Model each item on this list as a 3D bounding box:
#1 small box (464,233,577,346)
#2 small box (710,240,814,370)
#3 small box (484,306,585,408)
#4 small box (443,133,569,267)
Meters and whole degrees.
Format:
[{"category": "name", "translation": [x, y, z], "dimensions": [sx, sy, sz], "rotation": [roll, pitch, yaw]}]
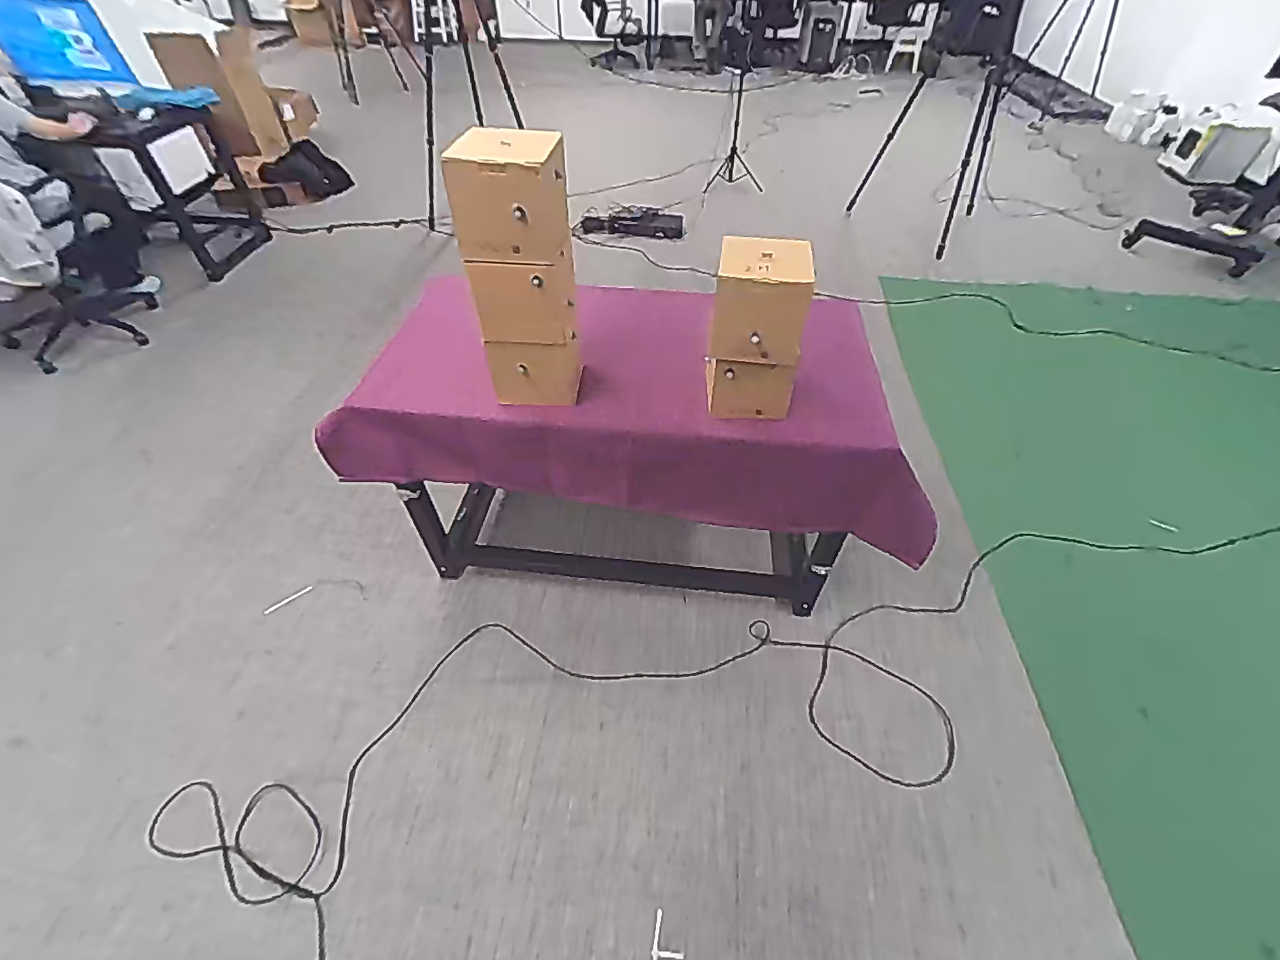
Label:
[{"category": "small box", "translation": [-0.227, -0.382, 1.081], "dimensions": [0.179, 0.176, 0.168], "rotation": [4, 46, 2]}, {"category": "small box", "translation": [0.227, -0.335, 1.032], "dimensions": [0.168, 0.176, 0.179], "rotation": [7, 47, 7]}, {"category": "small box", "translation": [-0.226, -0.274, 1.202], "dimensions": [0.179, 0.176, 0.168], "rotation": [3, 47, 3]}, {"category": "small box", "translation": [-0.224, -0.497, 0.965], "dimensions": [0.168, 0.176, 0.179], "rotation": [6, 46, 3]}]
